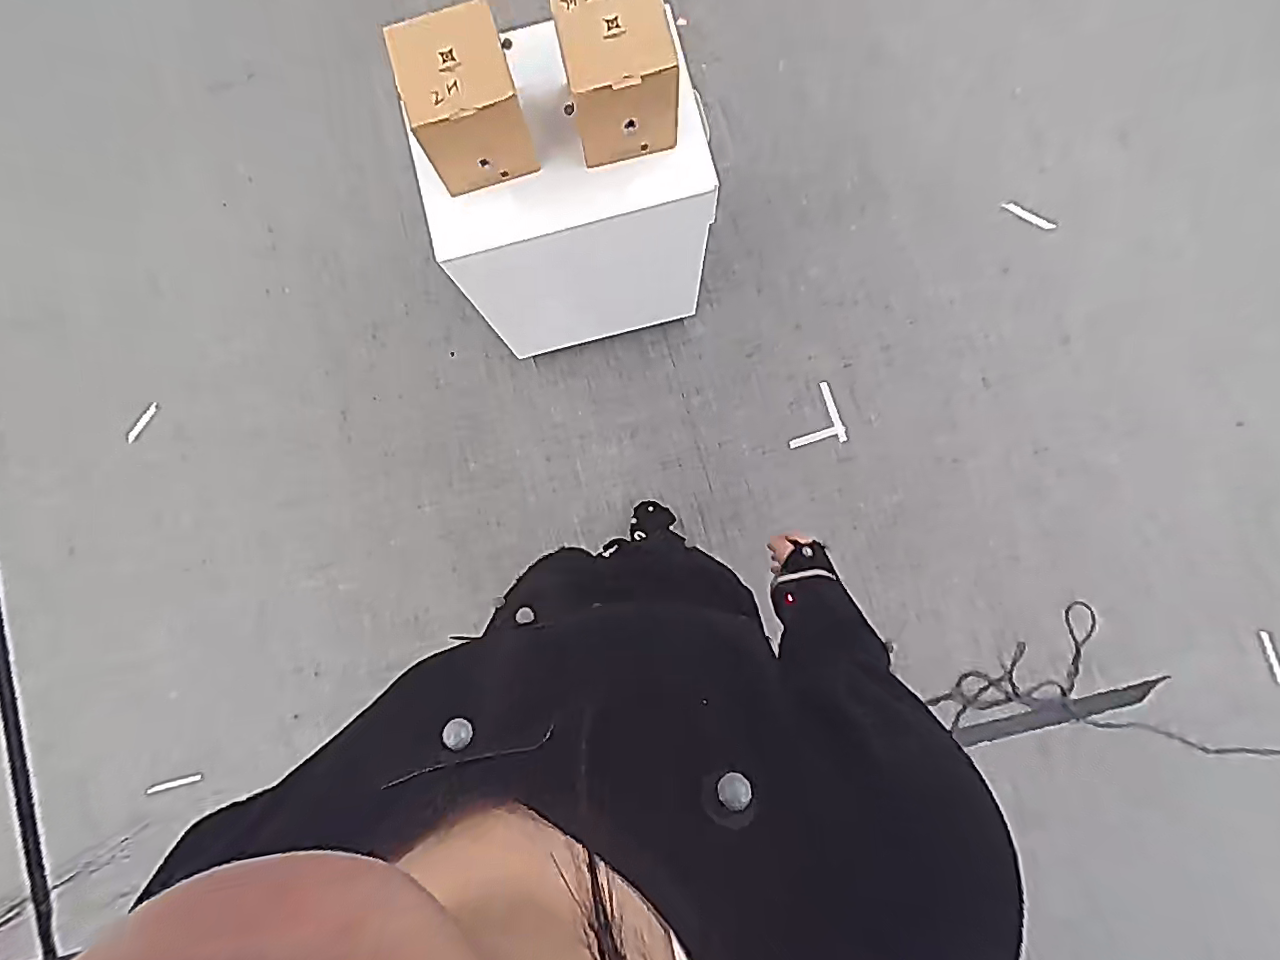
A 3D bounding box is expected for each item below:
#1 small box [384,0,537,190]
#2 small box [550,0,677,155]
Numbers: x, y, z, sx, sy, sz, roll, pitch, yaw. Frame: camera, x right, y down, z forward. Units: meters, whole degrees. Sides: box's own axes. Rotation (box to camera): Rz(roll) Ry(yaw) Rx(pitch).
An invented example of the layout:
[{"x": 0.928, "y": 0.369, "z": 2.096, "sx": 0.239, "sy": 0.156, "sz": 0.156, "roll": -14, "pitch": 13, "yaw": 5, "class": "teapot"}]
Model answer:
[{"x": -0.282, "y": -0.618, "z": 0.881, "sx": 0.168, "sy": 0.176, "sz": 0.179, "roll": -17, "pitch": 85, "yaw": 1, "class": "small box"}, {"x": -0.037, "y": -0.663, "z": 0.876, "sx": 0.168, "sy": 0.176, "sz": 0.179, "roll": -13, "pitch": 86, "yaw": 1, "class": "small box"}]
